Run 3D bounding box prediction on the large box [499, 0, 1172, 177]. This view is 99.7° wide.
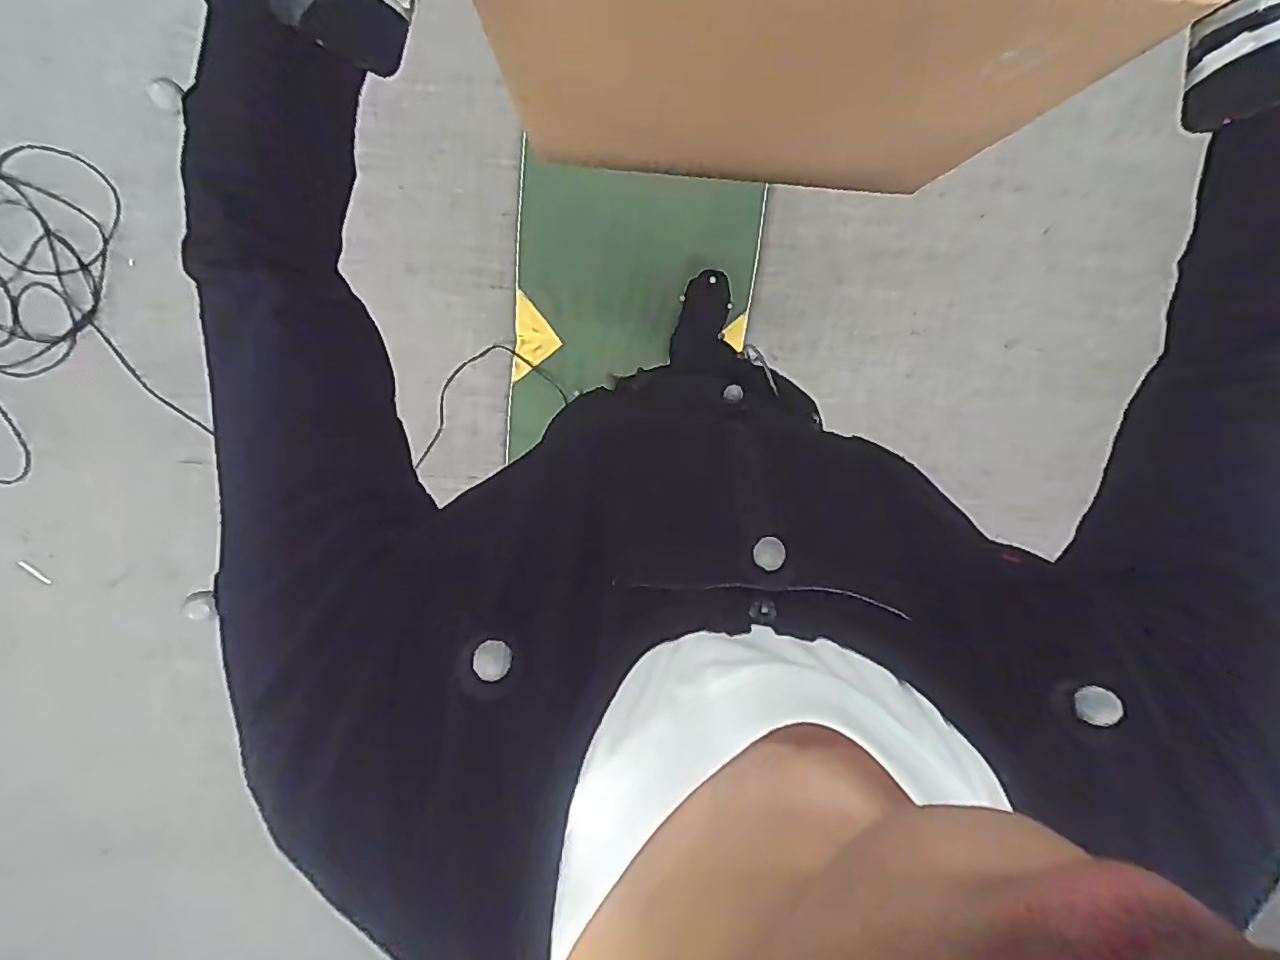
[{"bbox_3d":[0.108,-0.449,0.397,0.408,0.320,0.320,2,102,-4],"label":"large box"}]
